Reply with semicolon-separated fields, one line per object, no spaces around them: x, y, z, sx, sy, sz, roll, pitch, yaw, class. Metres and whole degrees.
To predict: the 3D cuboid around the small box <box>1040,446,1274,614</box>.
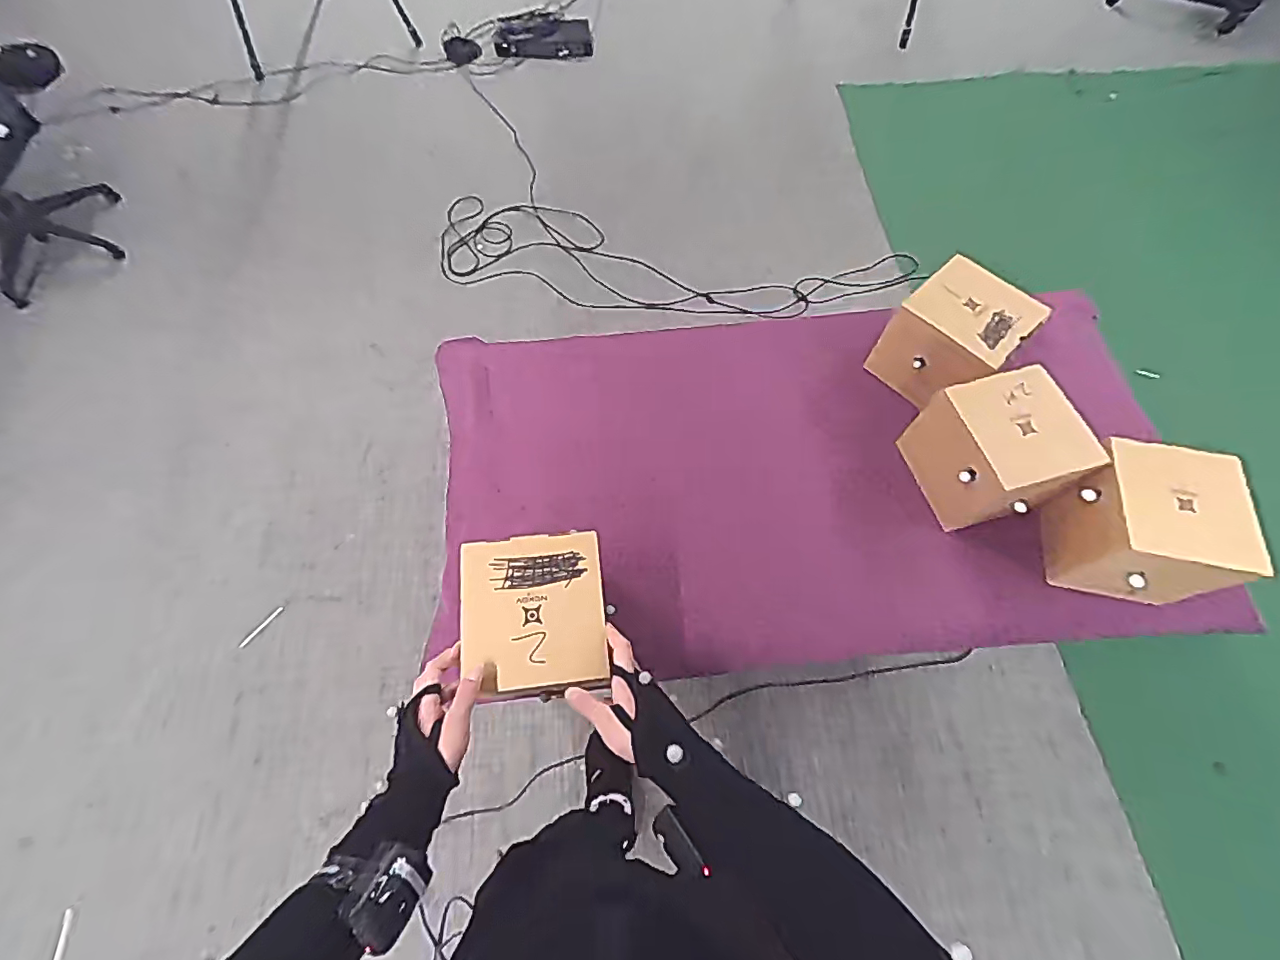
0.717;0.079;0.778;0.168;0.176;0.179;11;63;7;small box
